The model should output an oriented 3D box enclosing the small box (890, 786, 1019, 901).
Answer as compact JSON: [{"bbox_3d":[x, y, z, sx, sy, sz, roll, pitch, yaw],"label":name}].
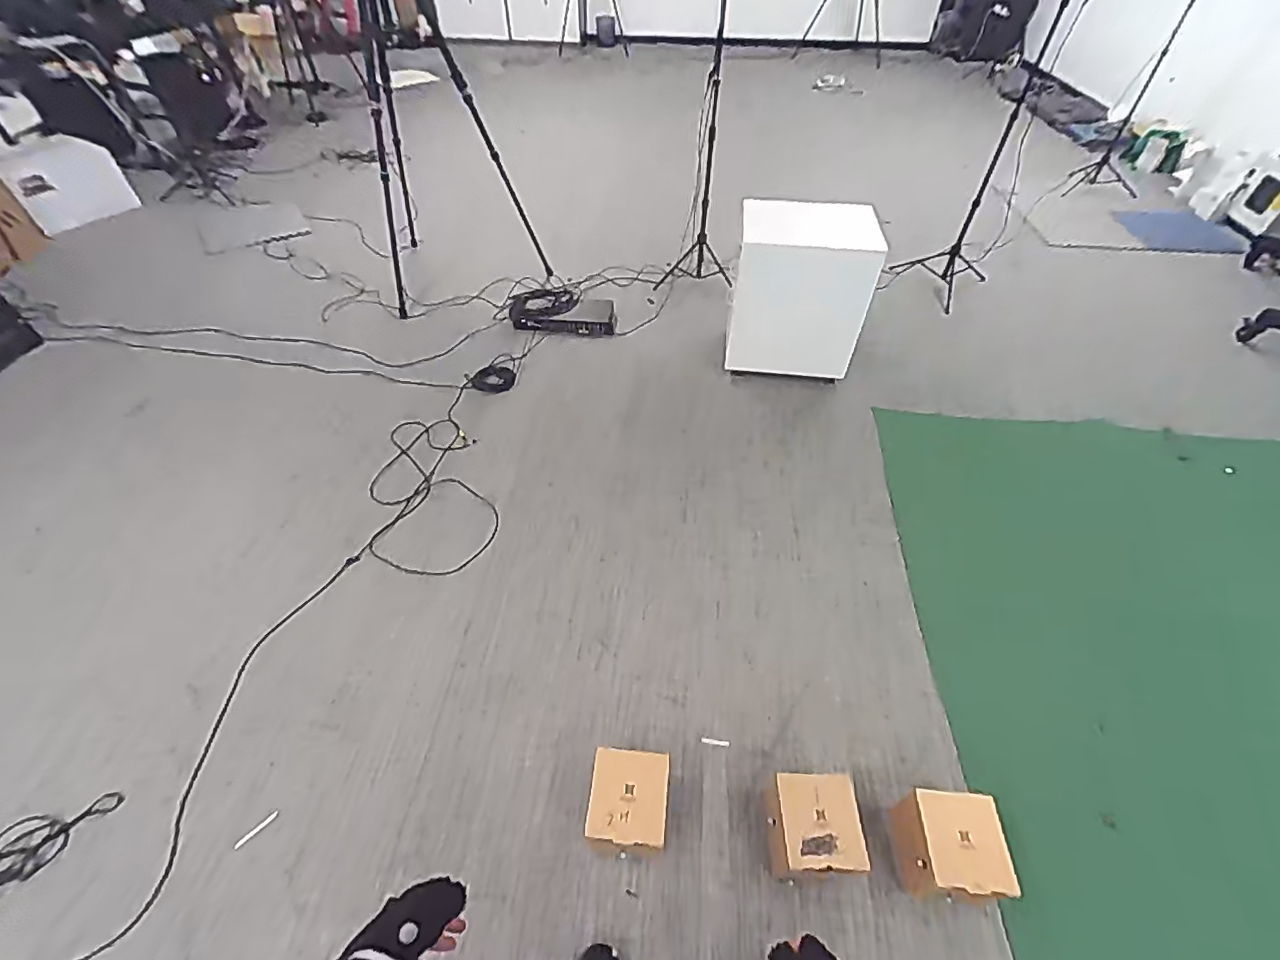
[{"bbox_3d":[0.664,0.789,1.171,0.168,0.176,0.179,4,48,3],"label":"small box"}]

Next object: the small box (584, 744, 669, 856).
[{"bbox_3d":[-0.026,0.720,1.214,0.168,0.176,0.179,5,49,4],"label":"small box"}]

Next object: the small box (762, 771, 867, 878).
[{"bbox_3d":[0.373,0.760,1.189,0.168,0.176,0.179,2,47,0],"label":"small box"}]
